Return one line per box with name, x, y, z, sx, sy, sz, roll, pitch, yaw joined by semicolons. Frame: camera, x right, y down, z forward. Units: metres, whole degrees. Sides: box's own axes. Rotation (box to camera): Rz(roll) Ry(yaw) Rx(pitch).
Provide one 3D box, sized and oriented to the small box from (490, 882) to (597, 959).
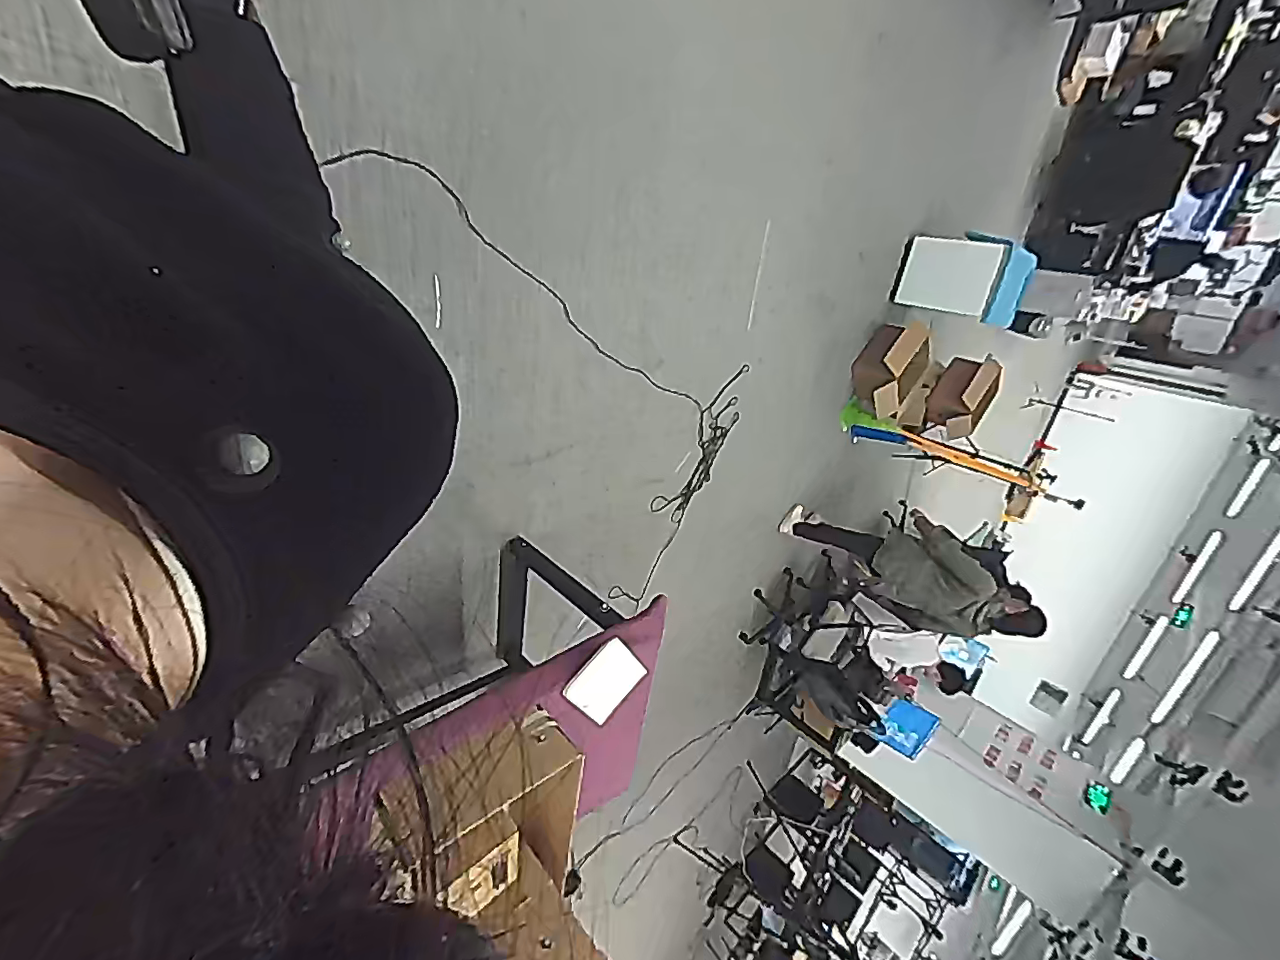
small box;-0.218;1.051;1.185;0.179;0.176;0.168;-17;123;-43
